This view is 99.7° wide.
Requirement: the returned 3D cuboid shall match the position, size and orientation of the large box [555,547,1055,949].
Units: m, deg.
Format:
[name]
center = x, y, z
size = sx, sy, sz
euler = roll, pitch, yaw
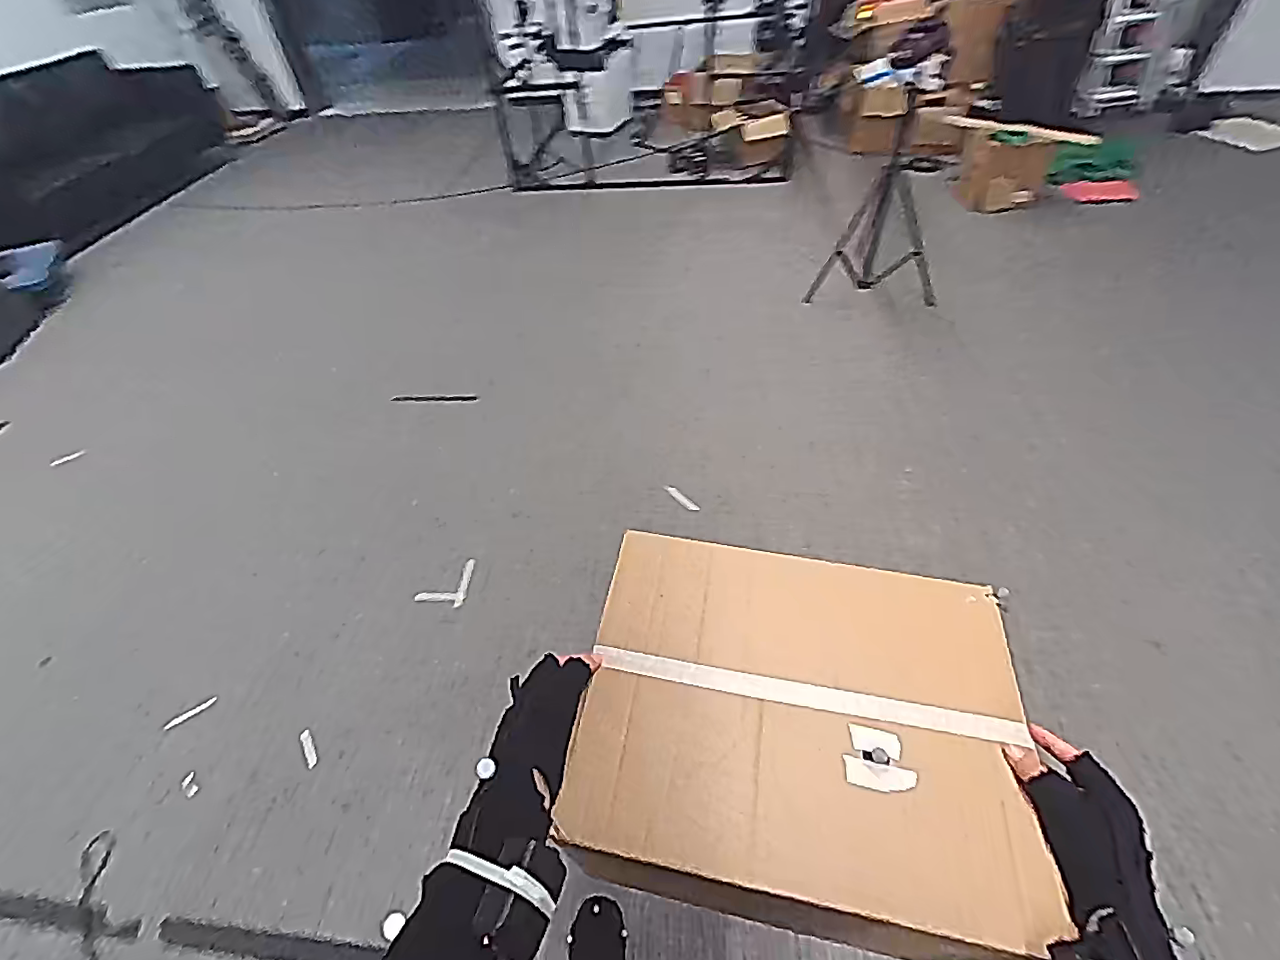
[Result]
[large box]
center = 0.147, 0.312, 0.639
size = 0.408, 0.320, 0.320
euler = 7, 50, 8
